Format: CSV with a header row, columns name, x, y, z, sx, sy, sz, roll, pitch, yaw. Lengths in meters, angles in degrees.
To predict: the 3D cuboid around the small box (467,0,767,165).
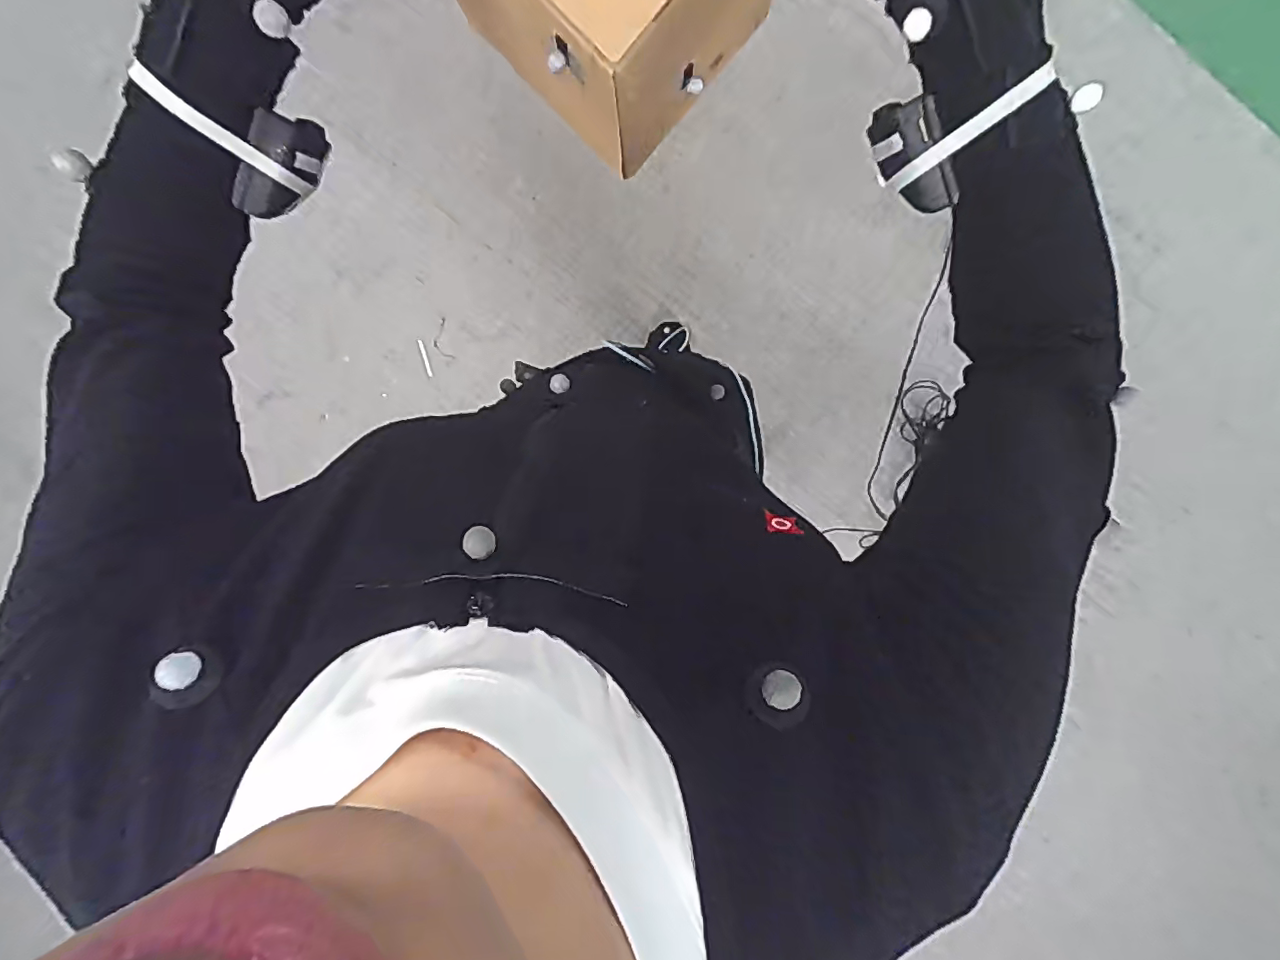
name,x,y,z,sx,sy,sz,roll,pitch,yaw
small box,-0.019,-0.353,0.352,0.179,0.176,0.168,43,98,-8
